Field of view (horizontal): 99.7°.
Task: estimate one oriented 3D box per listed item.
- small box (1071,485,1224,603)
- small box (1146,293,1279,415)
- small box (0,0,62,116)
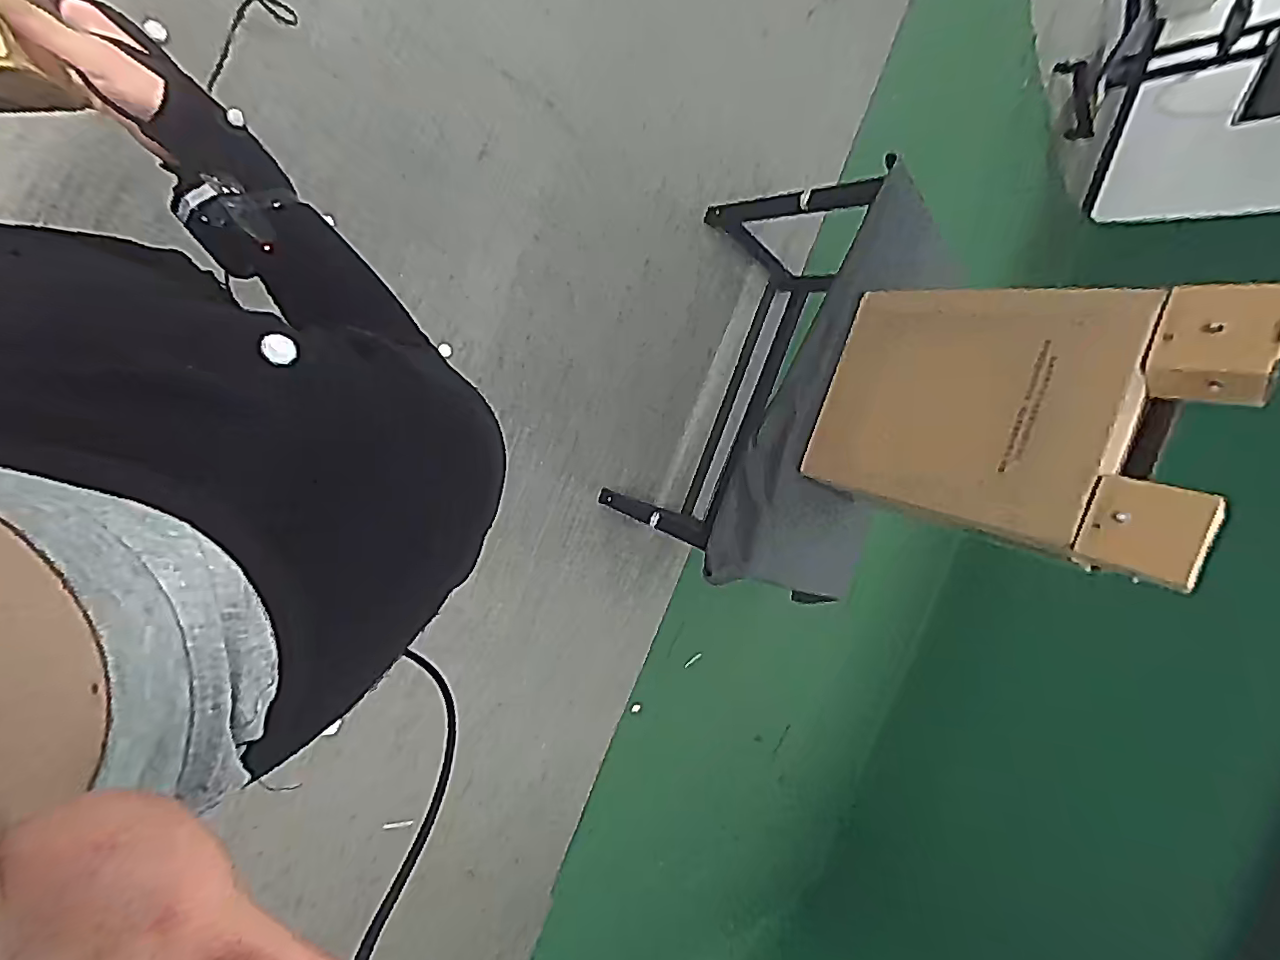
[{"bbox_3d":[0.968,0.121,1.037,0.179,0.176,0.168,18,94,-42],"label":"small box"},{"bbox_3d":[1.098,-0.236,1.025,0.179,0.176,0.168,18,92,-42],"label":"small box"},{"bbox_3d":[-0.471,-0.303,0.283,0.168,0.176,0.179,-22,122,-26],"label":"small box"}]
